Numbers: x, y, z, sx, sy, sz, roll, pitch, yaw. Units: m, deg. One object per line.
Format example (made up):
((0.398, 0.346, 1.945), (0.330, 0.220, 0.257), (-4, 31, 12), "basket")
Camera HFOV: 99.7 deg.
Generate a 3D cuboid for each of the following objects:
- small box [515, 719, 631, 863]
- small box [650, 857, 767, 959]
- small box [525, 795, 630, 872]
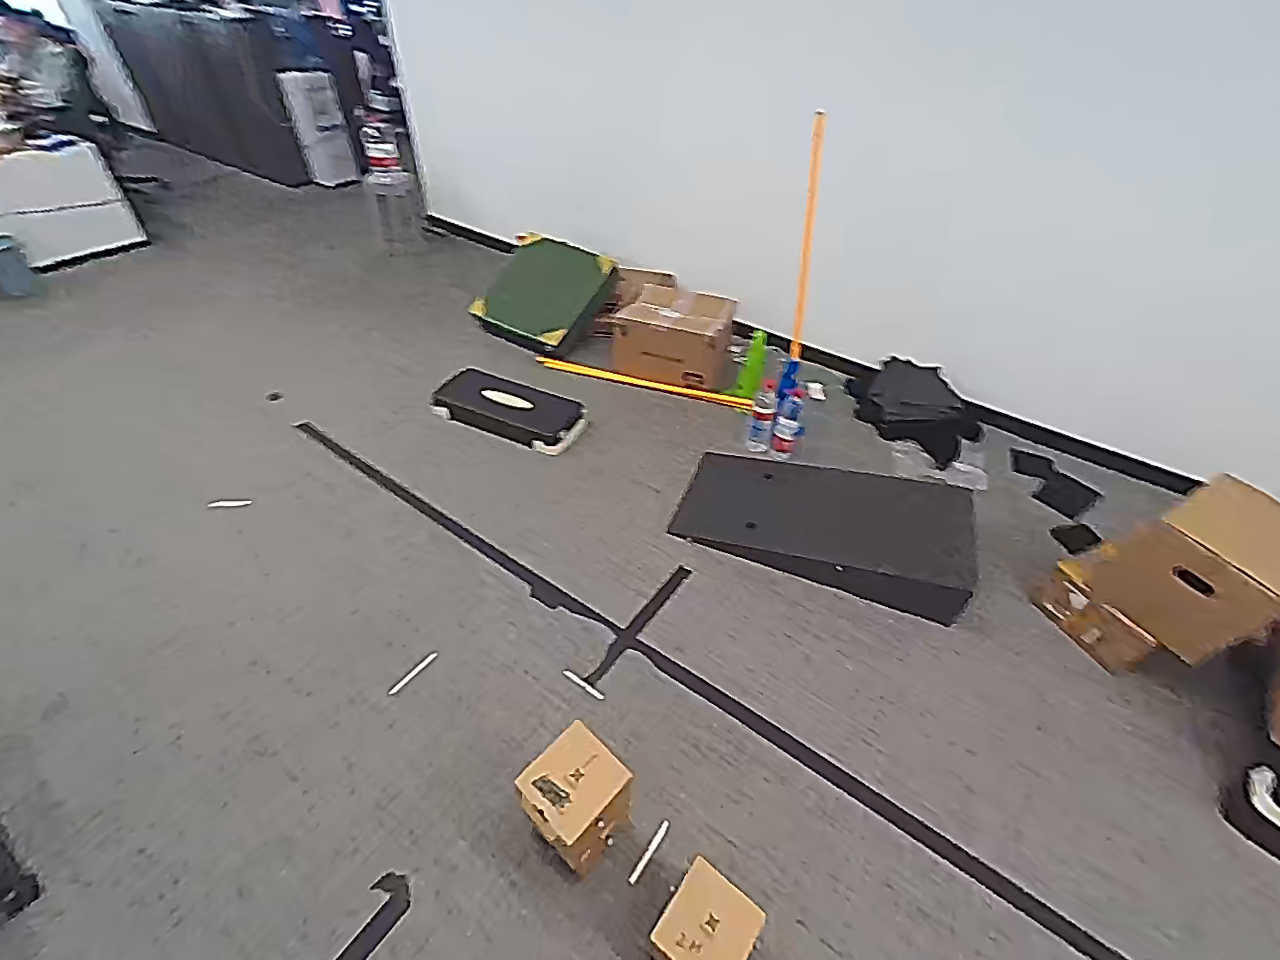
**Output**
((-0.134, 0.651, 1.129), (0.168, 0.176, 0.179), (35, 51, 28), "small box")
((0.131, 0.924, 1.100), (0.168, 0.176, 0.179), (30, 50, 25), "small box")
((-0.141, 0.765, 1.249), (0.179, 0.176, 0.168), (31, 50, 24), "small box")
